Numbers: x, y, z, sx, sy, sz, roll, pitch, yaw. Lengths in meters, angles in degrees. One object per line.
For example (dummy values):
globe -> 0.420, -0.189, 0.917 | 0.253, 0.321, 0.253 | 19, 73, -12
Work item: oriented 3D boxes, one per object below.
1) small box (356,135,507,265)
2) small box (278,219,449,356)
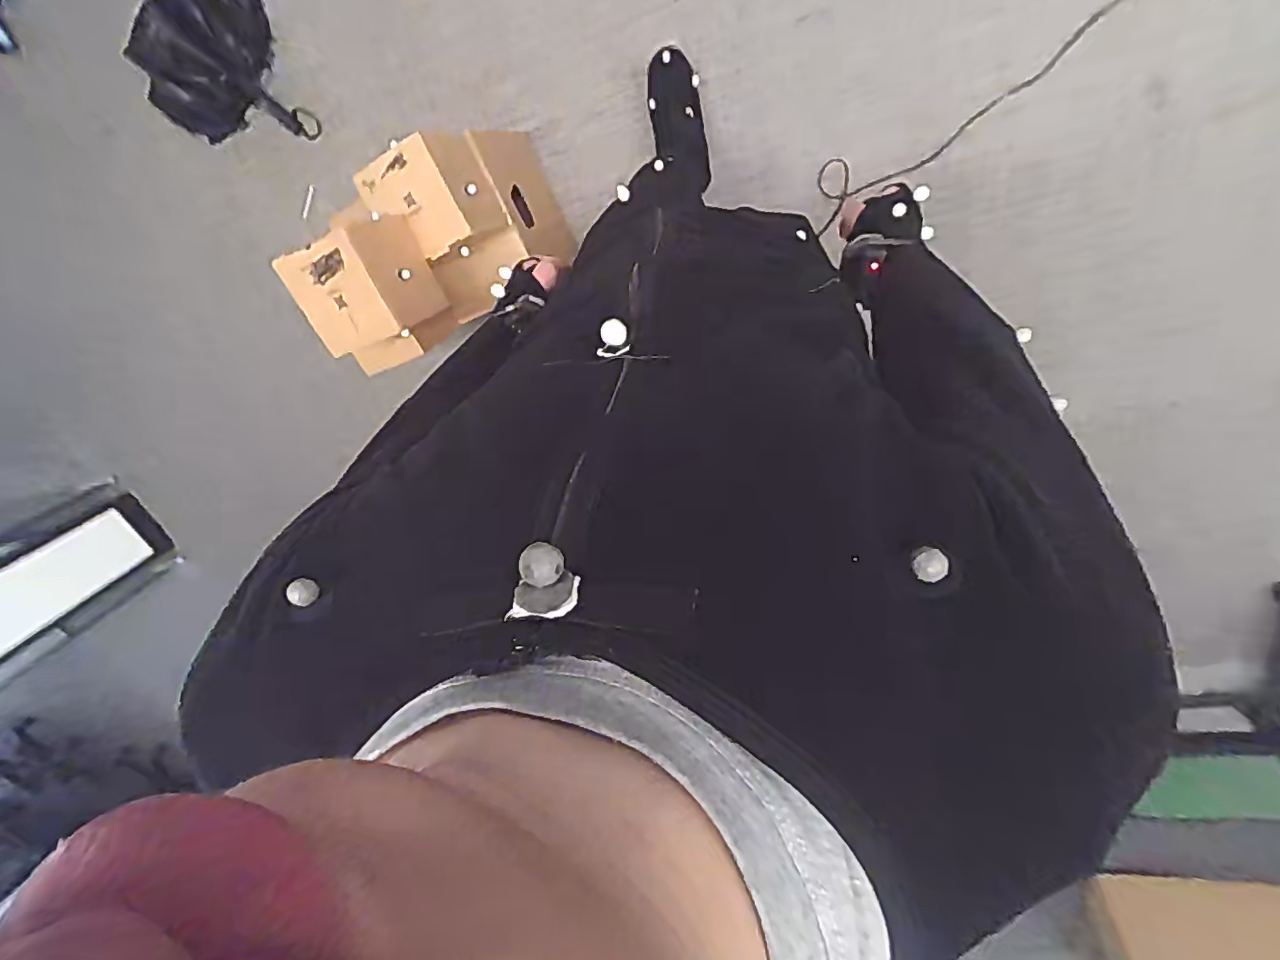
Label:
small box -> -0.385, -0.532, 1.037 | 0.168, 0.176, 0.179 | -17, 115, 23
small box -> -0.485, -0.352, 0.975 | 0.168, 0.176, 0.179 | -12, 120, 21
